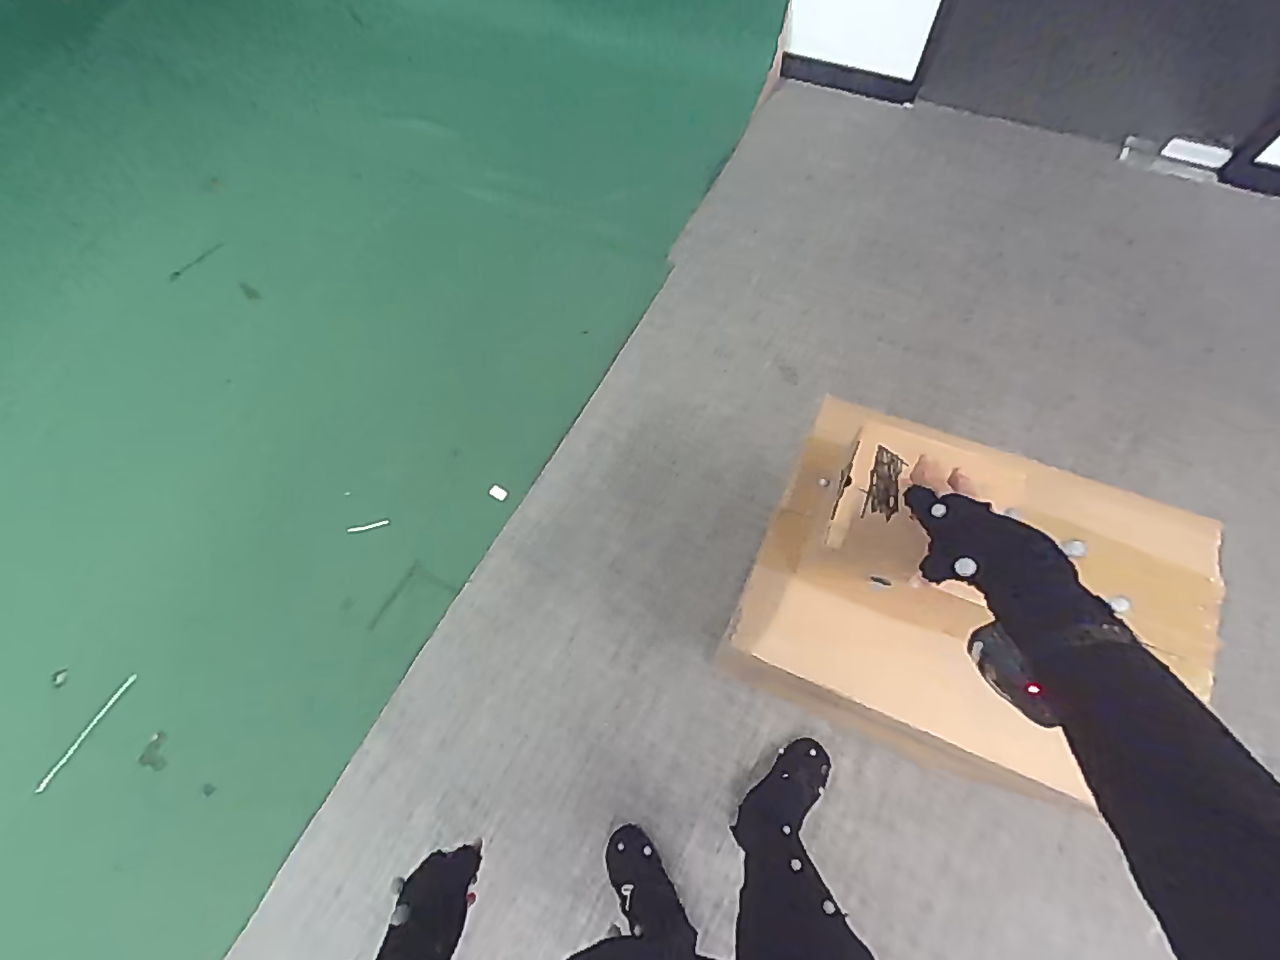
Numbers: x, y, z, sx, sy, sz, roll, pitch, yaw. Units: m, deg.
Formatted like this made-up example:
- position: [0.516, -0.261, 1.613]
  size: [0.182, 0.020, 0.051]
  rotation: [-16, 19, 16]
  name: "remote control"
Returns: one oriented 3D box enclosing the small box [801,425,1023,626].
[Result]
- position: [0.312, 0.064, 0.654]
  size: [0.179, 0.176, 0.168]
  rotation: [21, 72, 13]
  name: "small box"
